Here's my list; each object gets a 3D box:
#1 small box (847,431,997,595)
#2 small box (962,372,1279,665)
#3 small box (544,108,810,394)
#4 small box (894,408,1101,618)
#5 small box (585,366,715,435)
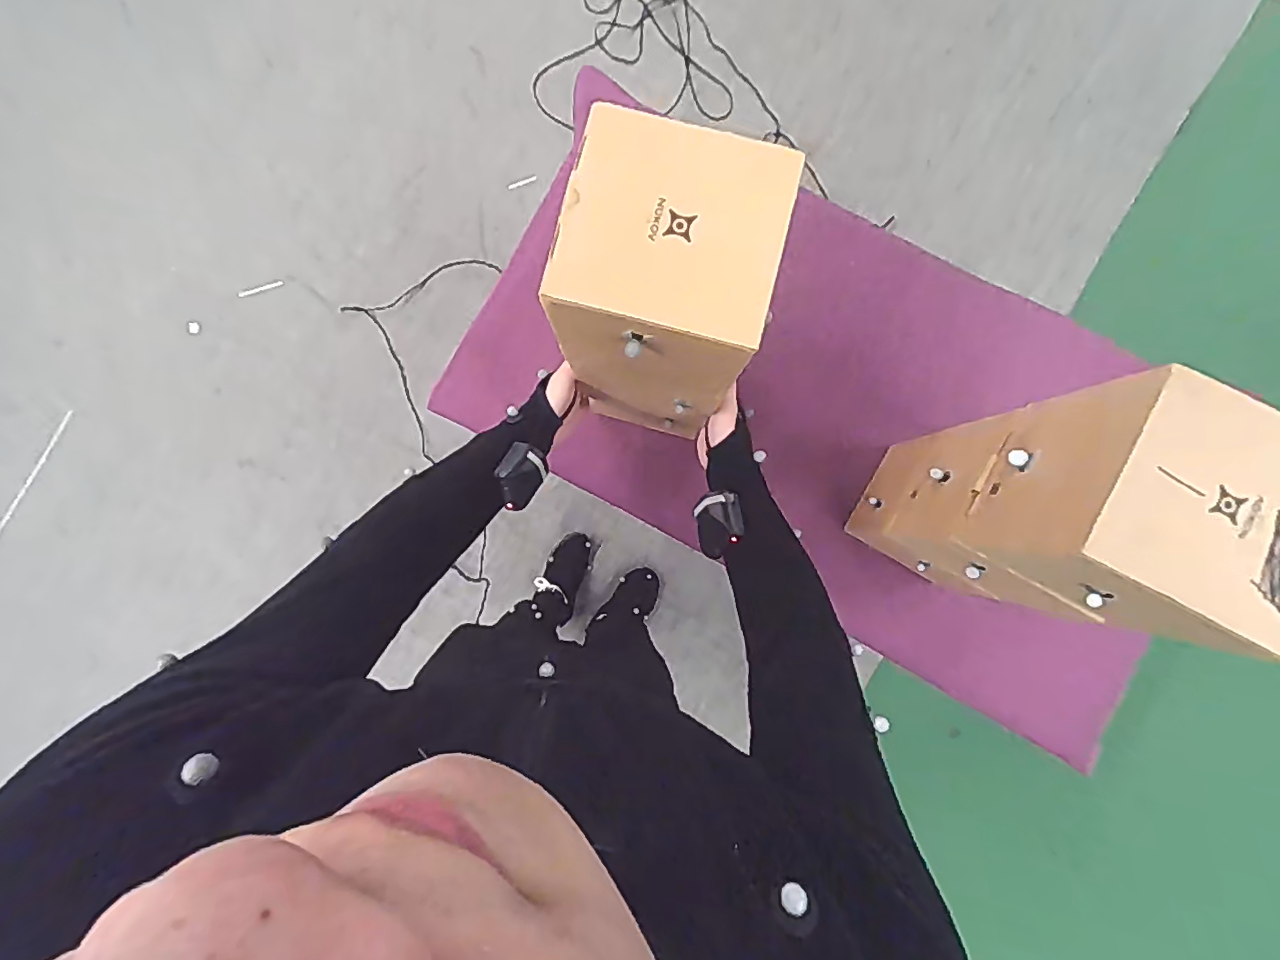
[{"bbox_3d":[0.446,0.049,0.812,0.179,0.176,0.168,31,88,2],"label":"small box"},{"bbox_3d":[0.442,0.030,0.484,0.179,0.176,0.168,29,88,4],"label":"small box"},{"bbox_3d":[0.030,-0.188,0.498,0.179,0.176,0.168,14,86,1],"label":"small box"},{"bbox_3d":[0.444,0.039,0.649,0.179,0.176,0.168,30,89,3],"label":"small box"},{"bbox_3d":[0.029,-0.173,0.825,0.179,0.176,0.168,16,85,2],"label":"small box"}]
